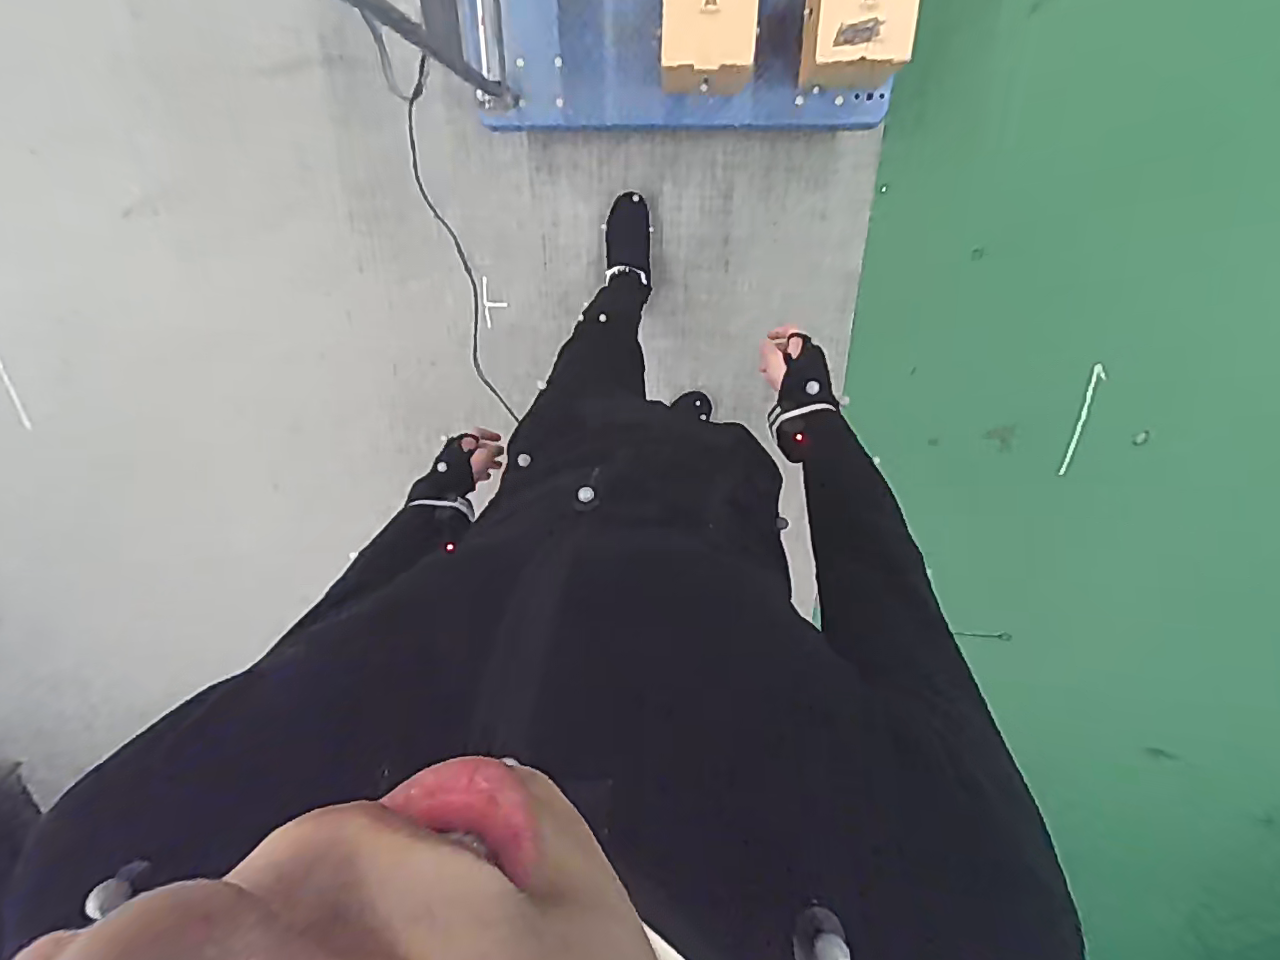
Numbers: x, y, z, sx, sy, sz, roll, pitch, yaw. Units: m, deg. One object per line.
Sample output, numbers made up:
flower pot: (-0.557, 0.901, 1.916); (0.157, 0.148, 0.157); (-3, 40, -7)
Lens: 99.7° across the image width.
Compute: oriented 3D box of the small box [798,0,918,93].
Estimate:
small box: (0.399, -0.841, 1.005); (0.168, 0.176, 0.179); (1, 112, 3)

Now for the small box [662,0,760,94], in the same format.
small box: (0.130, -0.841, 1.006); (0.168, 0.176, 0.179); (3, 113, 2)
